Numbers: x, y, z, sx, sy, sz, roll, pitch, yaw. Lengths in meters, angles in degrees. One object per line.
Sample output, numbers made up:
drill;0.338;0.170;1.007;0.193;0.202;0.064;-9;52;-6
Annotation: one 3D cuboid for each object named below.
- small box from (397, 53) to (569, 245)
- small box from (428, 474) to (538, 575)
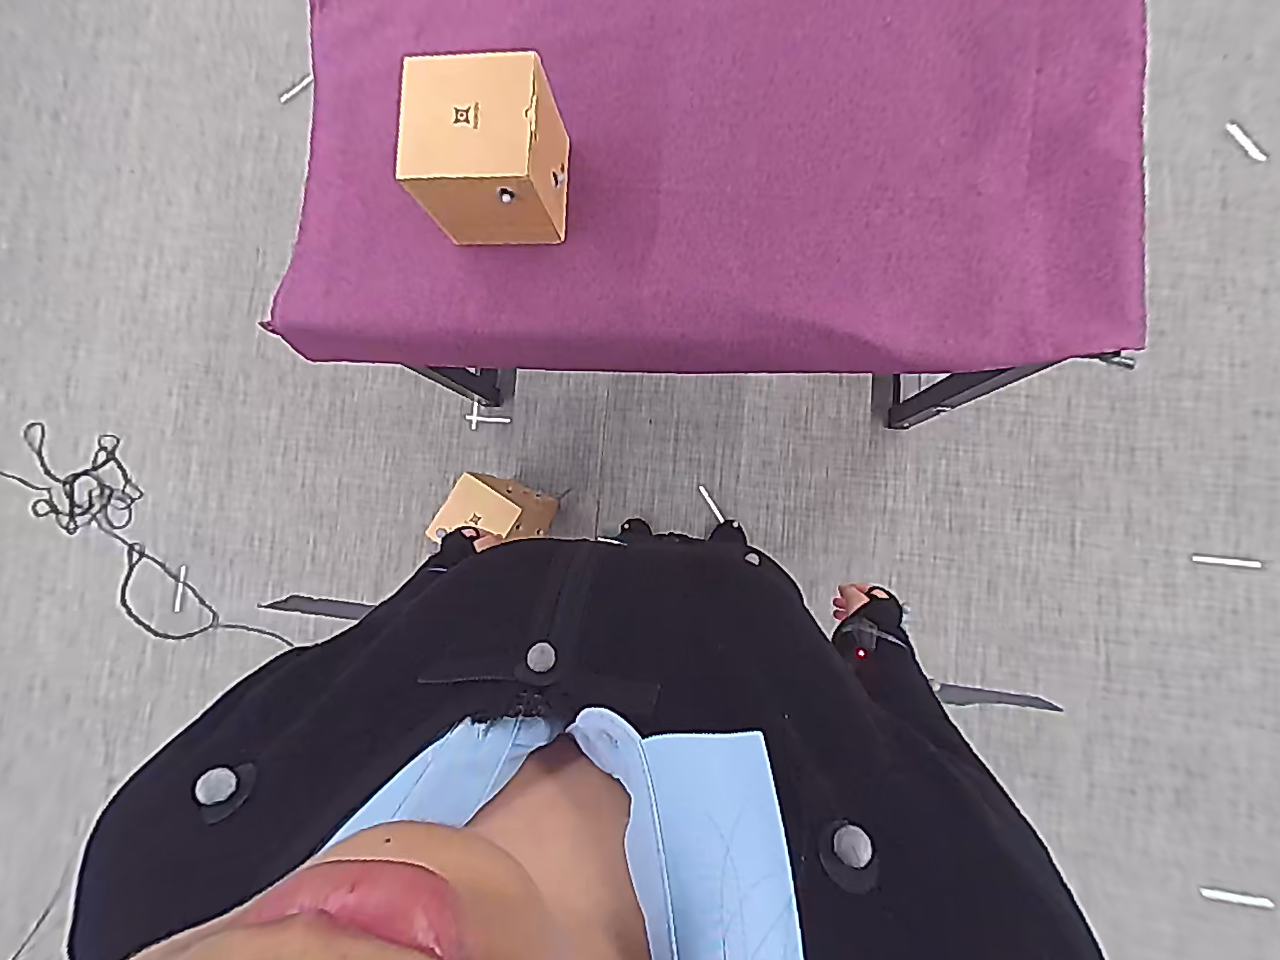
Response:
small box;-0.208;-0.446;0.755;0.179;0.176;0.168;2;86;5
small box;-0.365;0.103;1.301;0.168;0.176;0.179;33;91;7
